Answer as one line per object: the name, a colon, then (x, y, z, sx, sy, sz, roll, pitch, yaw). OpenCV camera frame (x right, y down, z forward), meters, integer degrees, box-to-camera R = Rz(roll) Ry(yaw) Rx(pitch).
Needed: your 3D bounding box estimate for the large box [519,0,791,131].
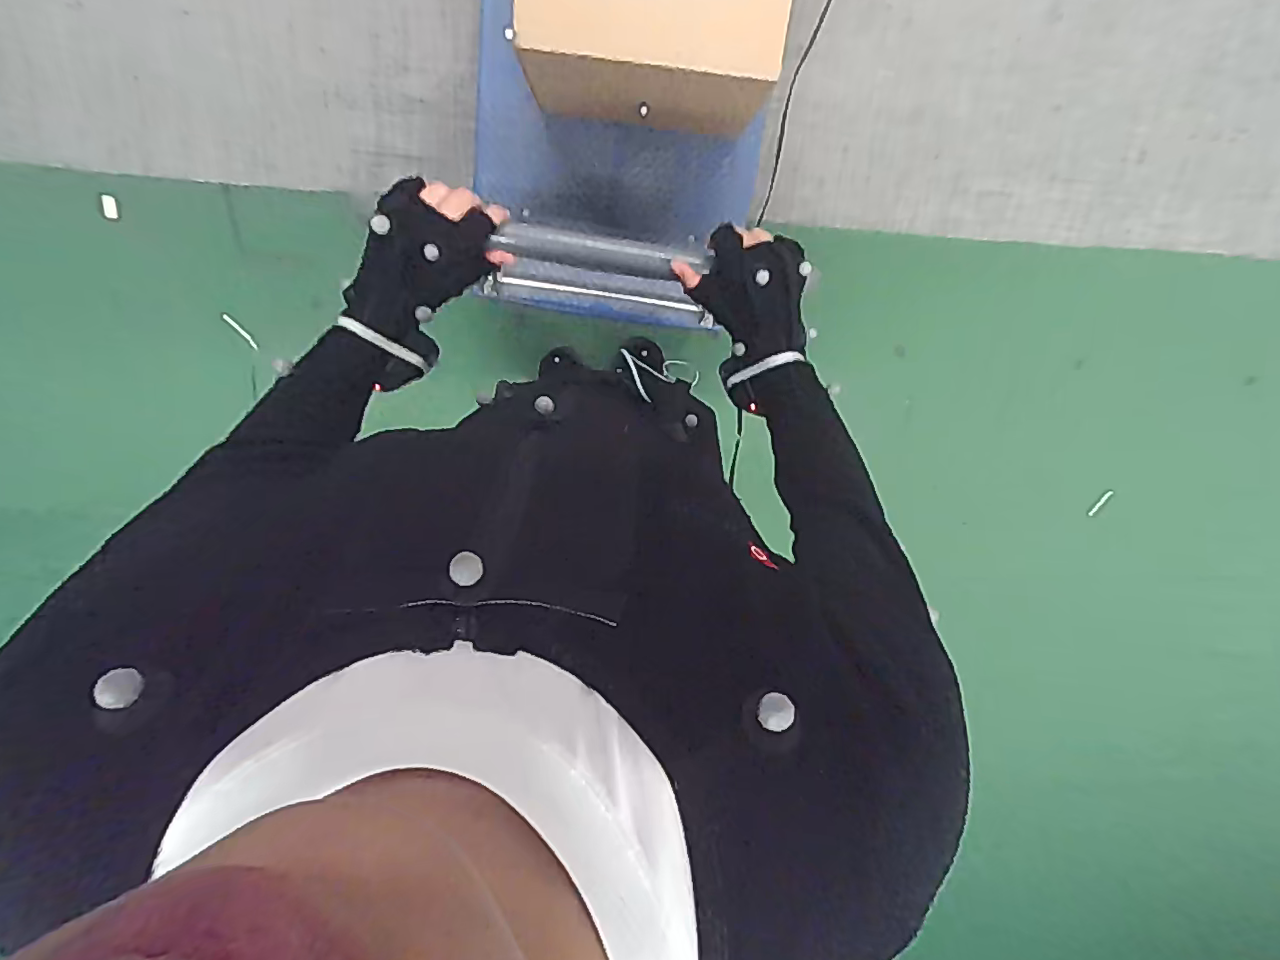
large box: (0.029, -0.822, 0.909, 0.408, 0.320, 0.320, 5, 107, -3)
